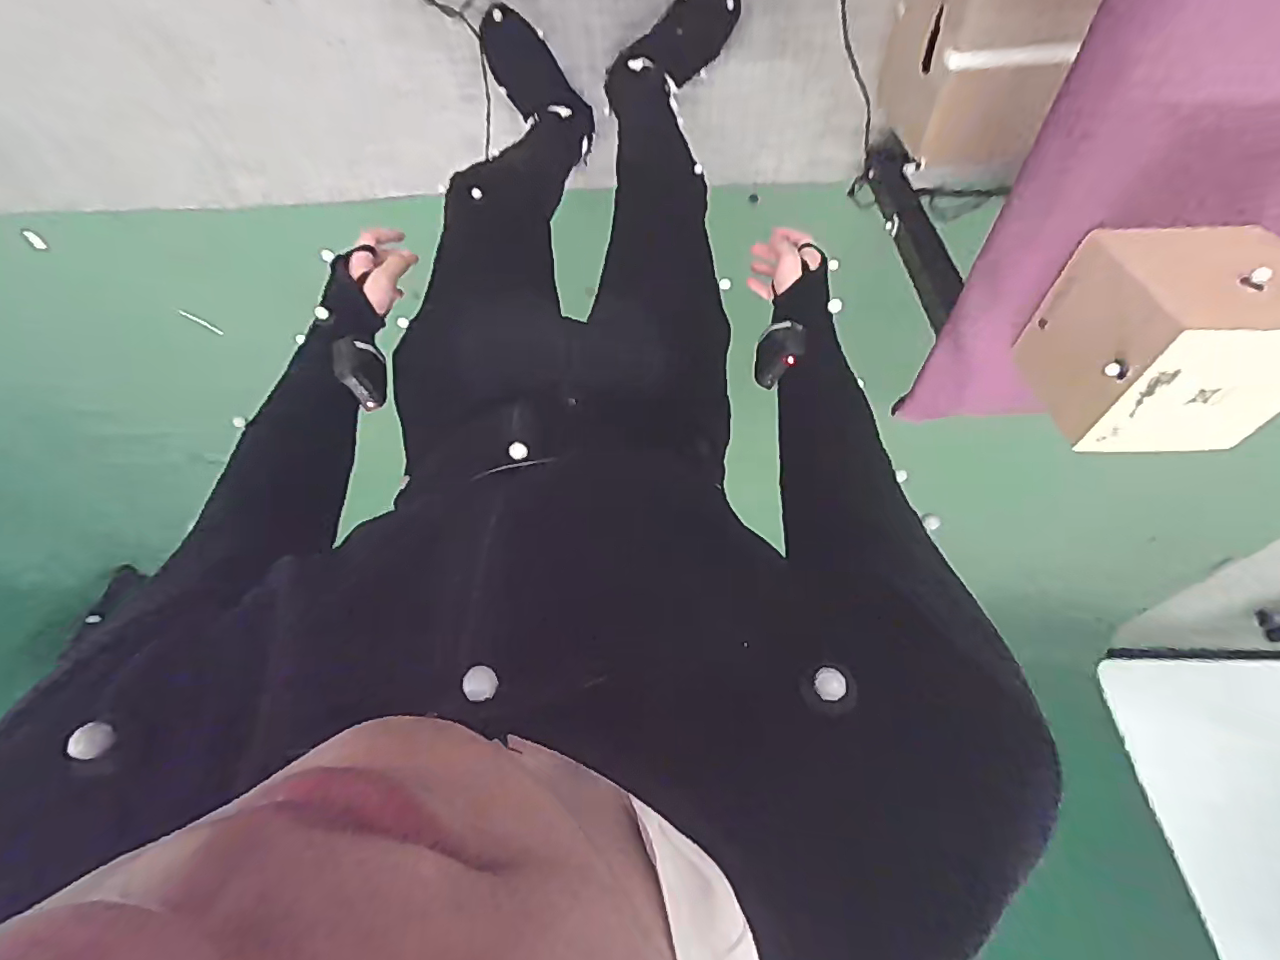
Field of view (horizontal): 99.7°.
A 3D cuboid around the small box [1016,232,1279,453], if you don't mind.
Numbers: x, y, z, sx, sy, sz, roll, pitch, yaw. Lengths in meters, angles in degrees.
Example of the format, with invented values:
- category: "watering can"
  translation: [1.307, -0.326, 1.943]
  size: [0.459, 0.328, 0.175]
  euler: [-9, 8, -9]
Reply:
- category: "small box"
  translation: [0.558, -0.146, 0.576]
  size: [0.179, 0.176, 0.168]
  euler: [-1, 142, 1]
